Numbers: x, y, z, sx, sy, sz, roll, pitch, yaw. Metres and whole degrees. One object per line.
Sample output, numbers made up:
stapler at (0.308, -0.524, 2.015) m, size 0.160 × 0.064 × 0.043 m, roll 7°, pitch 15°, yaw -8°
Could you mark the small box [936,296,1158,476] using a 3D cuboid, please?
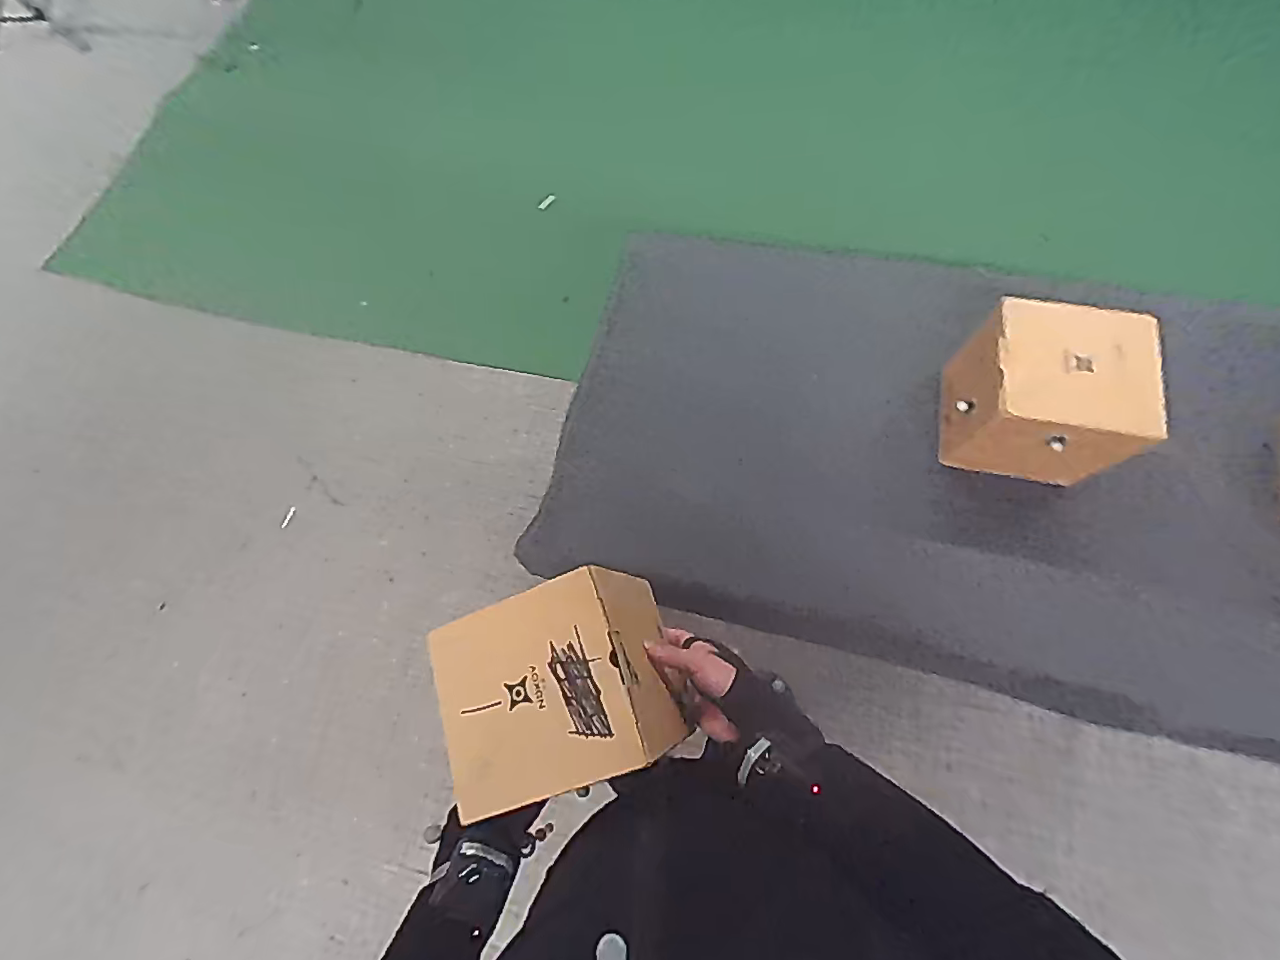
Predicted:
small box at (0.518, -0.115, 0.717) m, size 0.179 × 0.176 × 0.168 m, roll 10°, pitch 73°, yaw 6°
